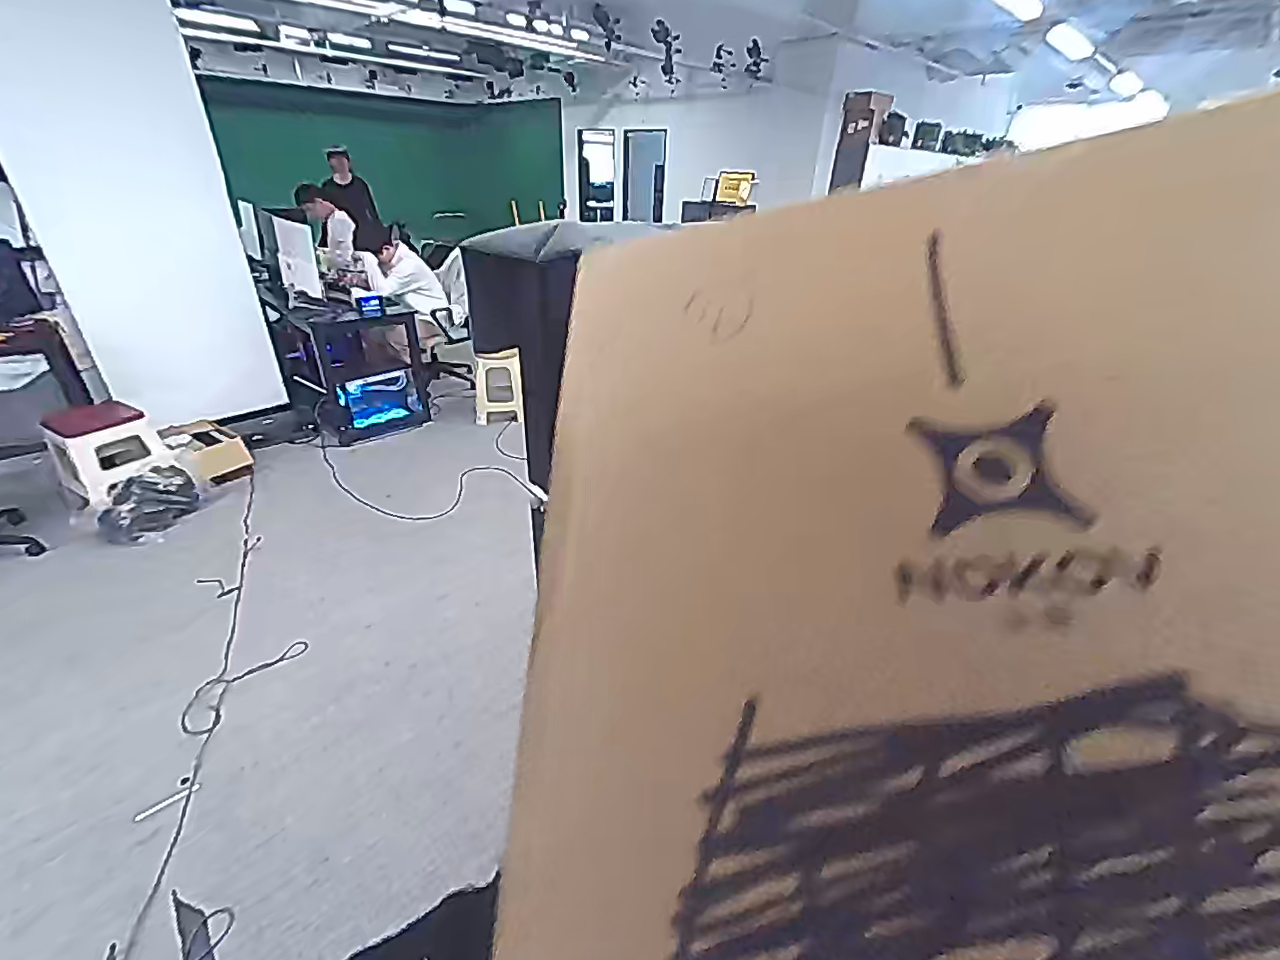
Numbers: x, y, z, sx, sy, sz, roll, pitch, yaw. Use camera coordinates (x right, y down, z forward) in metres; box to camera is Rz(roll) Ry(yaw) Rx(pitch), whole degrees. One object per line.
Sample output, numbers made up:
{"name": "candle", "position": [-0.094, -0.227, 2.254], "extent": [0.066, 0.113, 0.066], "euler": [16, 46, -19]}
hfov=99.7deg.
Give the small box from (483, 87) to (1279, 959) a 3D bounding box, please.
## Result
{"name": "small box", "position": [0.080, 0.043, 0.157], "extent": [0.168, 0.176, 0.179], "euler": [-6, 61, 16]}
